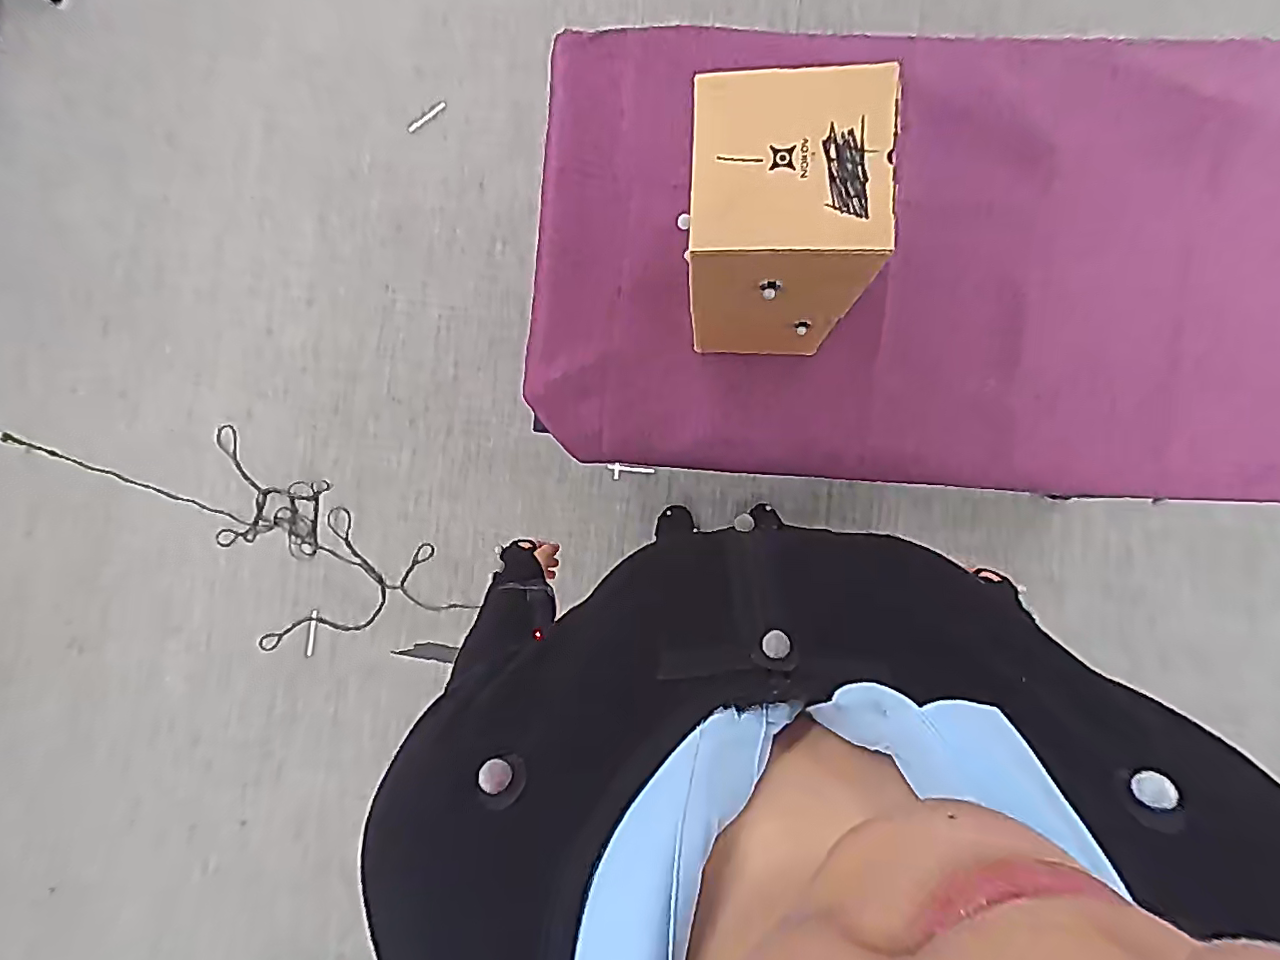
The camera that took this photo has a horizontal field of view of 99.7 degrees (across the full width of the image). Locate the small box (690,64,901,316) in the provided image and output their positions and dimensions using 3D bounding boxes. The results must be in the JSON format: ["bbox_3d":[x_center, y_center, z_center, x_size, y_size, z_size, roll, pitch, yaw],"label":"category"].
[{"bbox_3d":[0.143,-0.276,0.550,0.179,0.176,0.168,2,87,7],"label":"small box"}]

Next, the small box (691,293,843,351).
[{"bbox_3d":[0.161,-0.273,0.713,0.179,0.176,0.168,2,88,6],"label":"small box"}]
